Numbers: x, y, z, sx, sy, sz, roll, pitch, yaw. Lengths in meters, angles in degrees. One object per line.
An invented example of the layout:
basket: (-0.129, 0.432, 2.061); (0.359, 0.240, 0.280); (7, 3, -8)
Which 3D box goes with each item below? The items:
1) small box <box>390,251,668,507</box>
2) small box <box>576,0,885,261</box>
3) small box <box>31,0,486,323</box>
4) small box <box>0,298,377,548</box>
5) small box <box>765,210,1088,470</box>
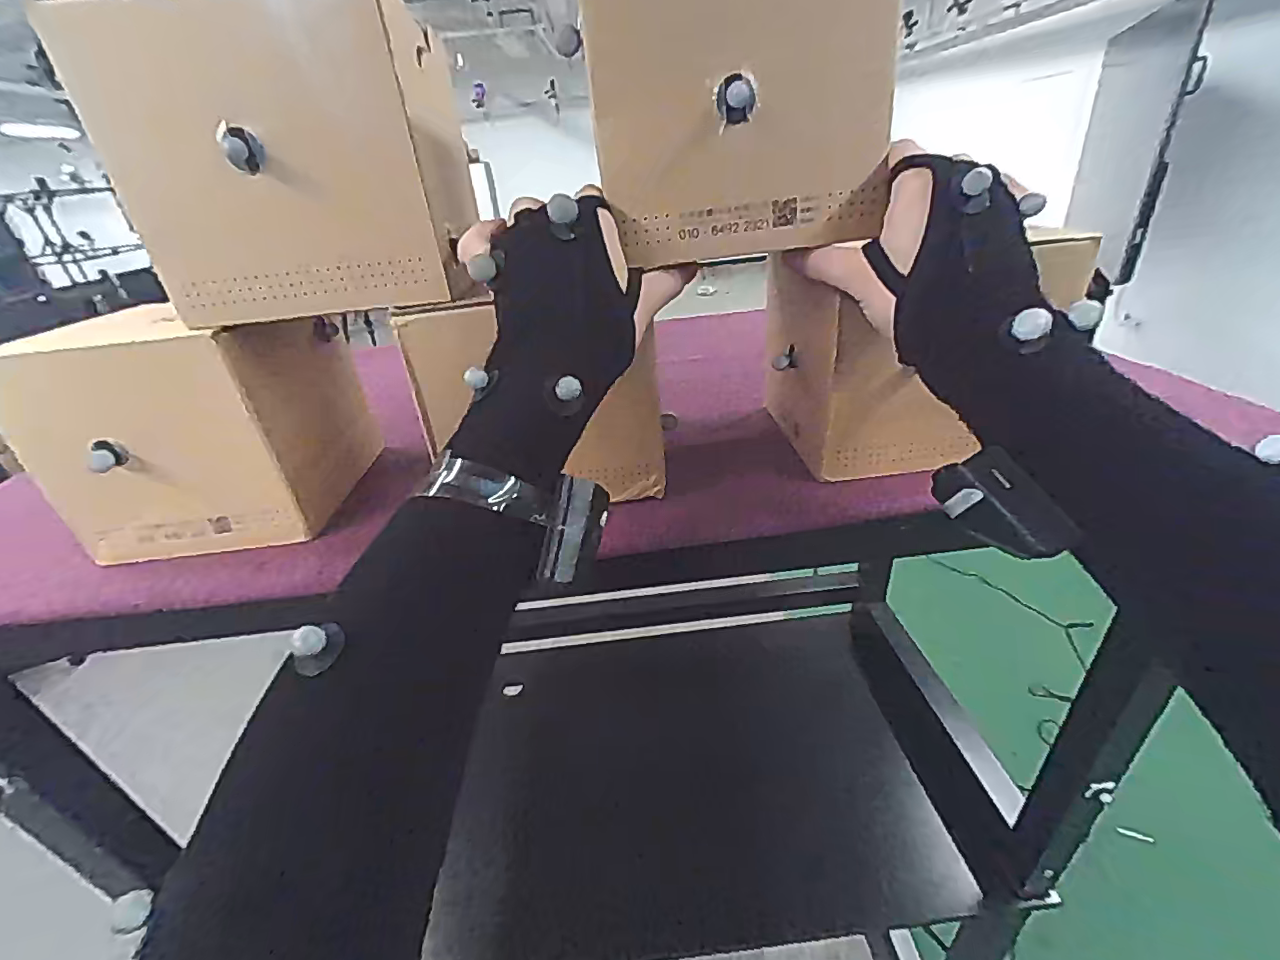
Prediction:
small box: (-0.075, -0.089, 0.459); (0.179, 0.176, 0.168); (-6, 30, -1)
small box: (0.053, -0.248, 0.366); (0.168, 0.176, 0.179); (-7, 25, 1)
small box: (-0.220, -0.219, 0.382); (0.179, 0.176, 0.168); (-8, 30, -2)
small box: (-0.348, -0.056, 0.452); (0.168, 0.176, 0.179); (-7, 29, -2)
small box: (0.214, -0.121, 0.460); (0.179, 0.176, 0.168); (-8, 32, -1)
